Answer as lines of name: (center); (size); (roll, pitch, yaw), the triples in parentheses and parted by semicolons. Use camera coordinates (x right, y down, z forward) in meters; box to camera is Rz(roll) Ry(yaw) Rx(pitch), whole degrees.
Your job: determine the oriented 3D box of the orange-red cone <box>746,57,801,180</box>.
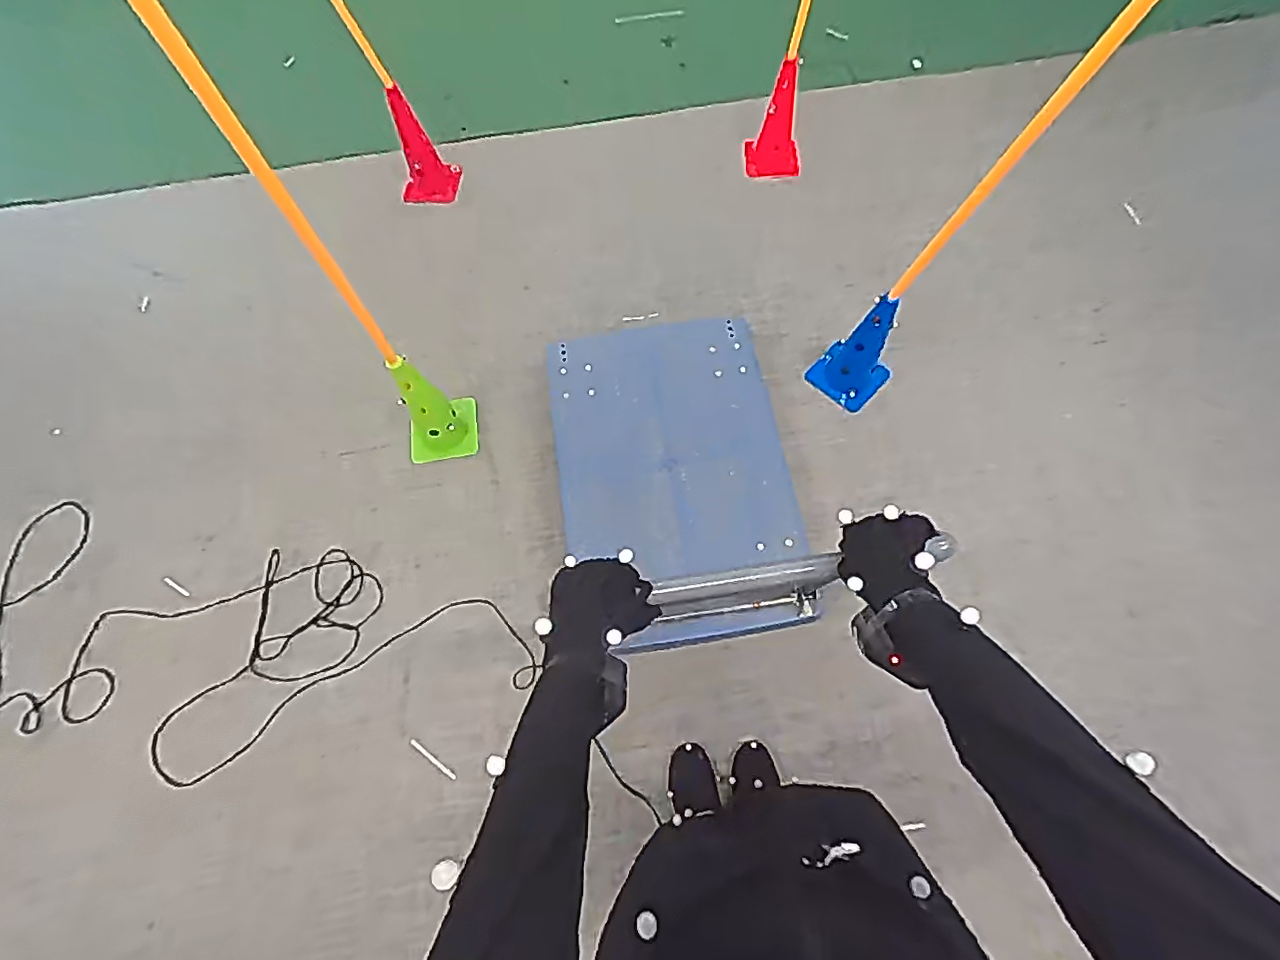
orange-red cone: (0.495, -1.271, 1.889); (0.198, 0.360, 0.199); (1, 68, 4)
